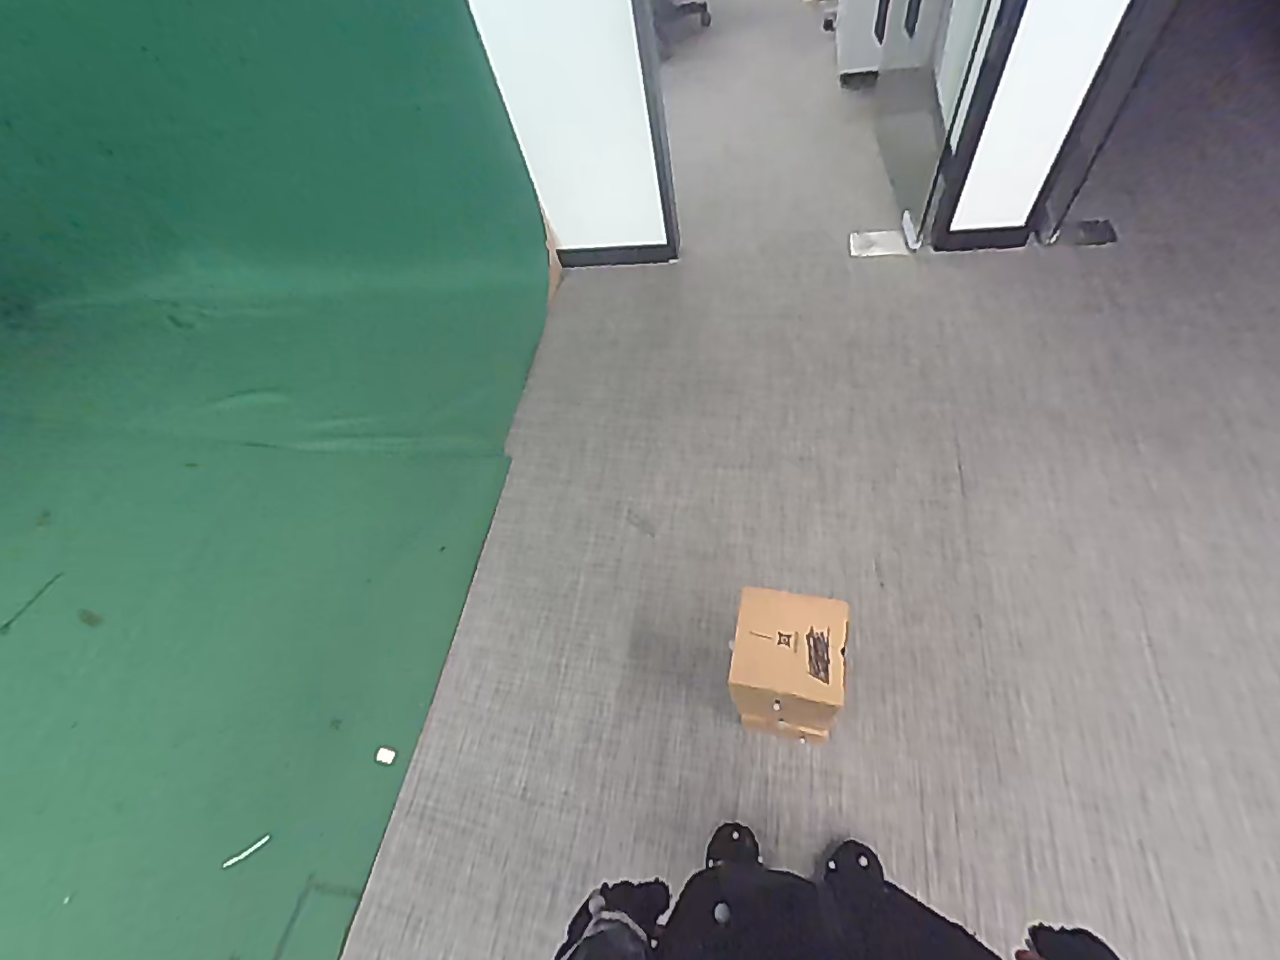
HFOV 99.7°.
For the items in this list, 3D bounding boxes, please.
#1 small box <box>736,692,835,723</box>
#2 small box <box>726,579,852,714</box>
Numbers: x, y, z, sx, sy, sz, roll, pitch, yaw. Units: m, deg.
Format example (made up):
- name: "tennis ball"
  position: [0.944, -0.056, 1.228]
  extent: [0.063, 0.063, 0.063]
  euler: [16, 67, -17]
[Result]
- name: "small box"
  position: [0.294, 0.379, 1.084]
  extent: [0.179, 0.176, 0.168]
  euler: [8, 61, 16]
- name: "small box"
  position: [0.256, 0.295, 0.944]
  extent: [0.179, 0.176, 0.168]
  euler: [10, 60, 18]
